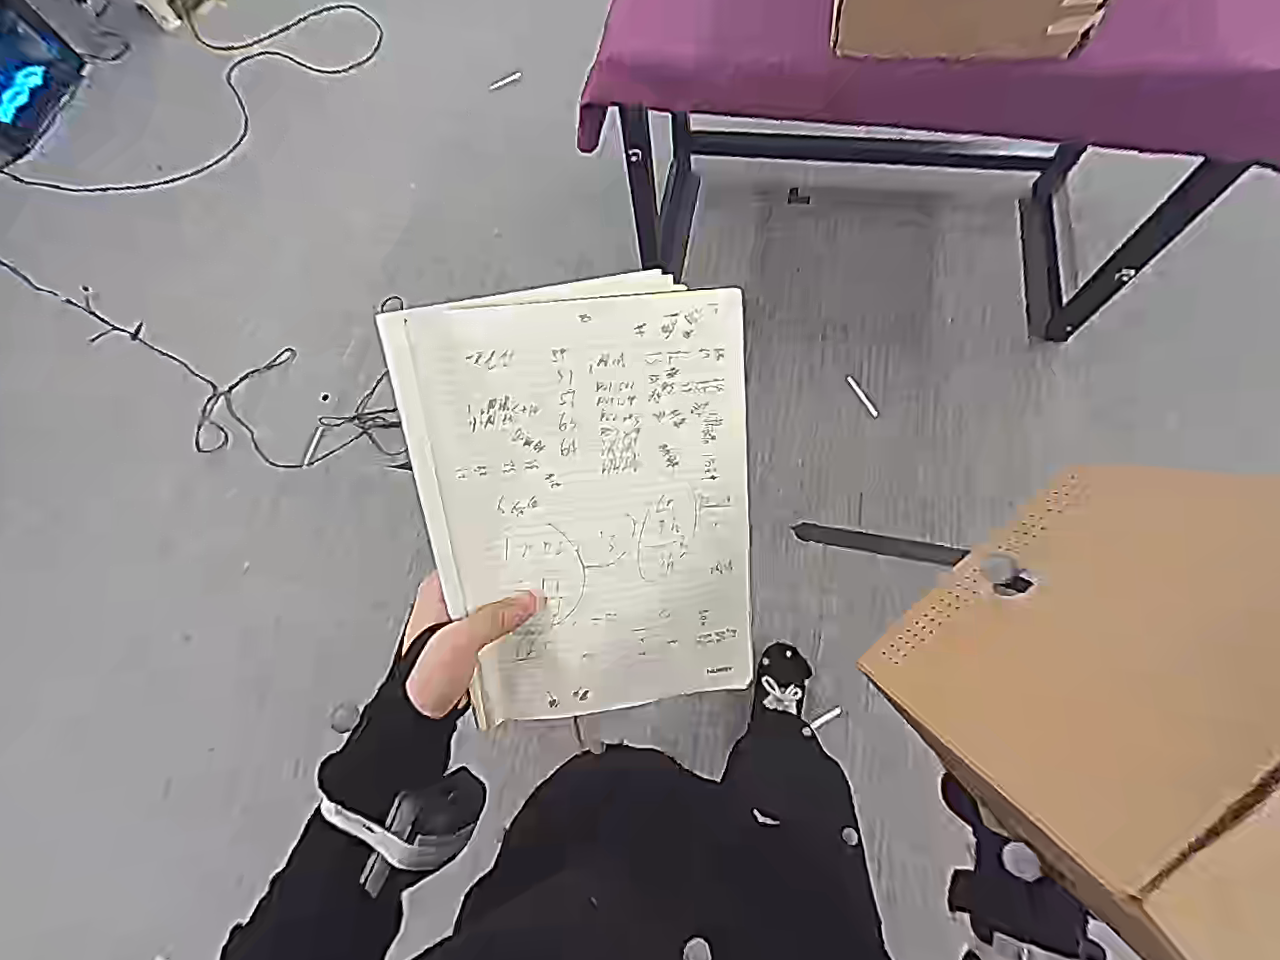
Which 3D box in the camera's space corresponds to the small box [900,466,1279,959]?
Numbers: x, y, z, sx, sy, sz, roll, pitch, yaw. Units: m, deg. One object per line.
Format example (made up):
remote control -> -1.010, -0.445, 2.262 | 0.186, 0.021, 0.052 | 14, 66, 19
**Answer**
small box -> 0.255, 0.112, 0.248 | 0.179, 0.176, 0.168 | -44, 98, 0
